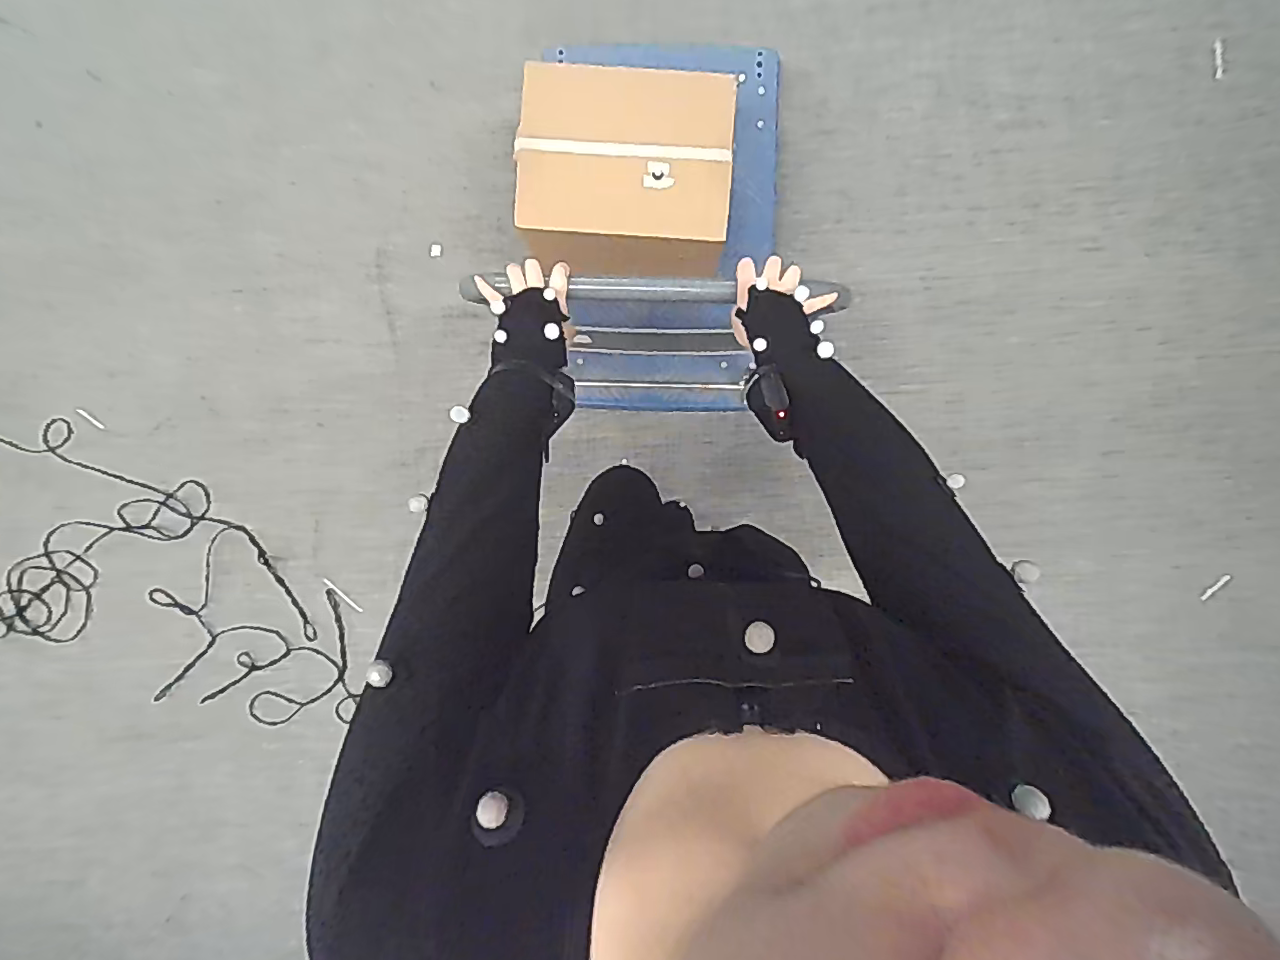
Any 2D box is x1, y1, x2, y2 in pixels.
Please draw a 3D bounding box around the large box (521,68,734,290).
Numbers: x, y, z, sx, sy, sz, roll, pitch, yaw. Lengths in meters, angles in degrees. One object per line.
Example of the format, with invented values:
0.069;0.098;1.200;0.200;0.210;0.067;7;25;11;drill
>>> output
-0.026;-0.628;1.183;0.408;0.320;0.320;4;91;0;large box
